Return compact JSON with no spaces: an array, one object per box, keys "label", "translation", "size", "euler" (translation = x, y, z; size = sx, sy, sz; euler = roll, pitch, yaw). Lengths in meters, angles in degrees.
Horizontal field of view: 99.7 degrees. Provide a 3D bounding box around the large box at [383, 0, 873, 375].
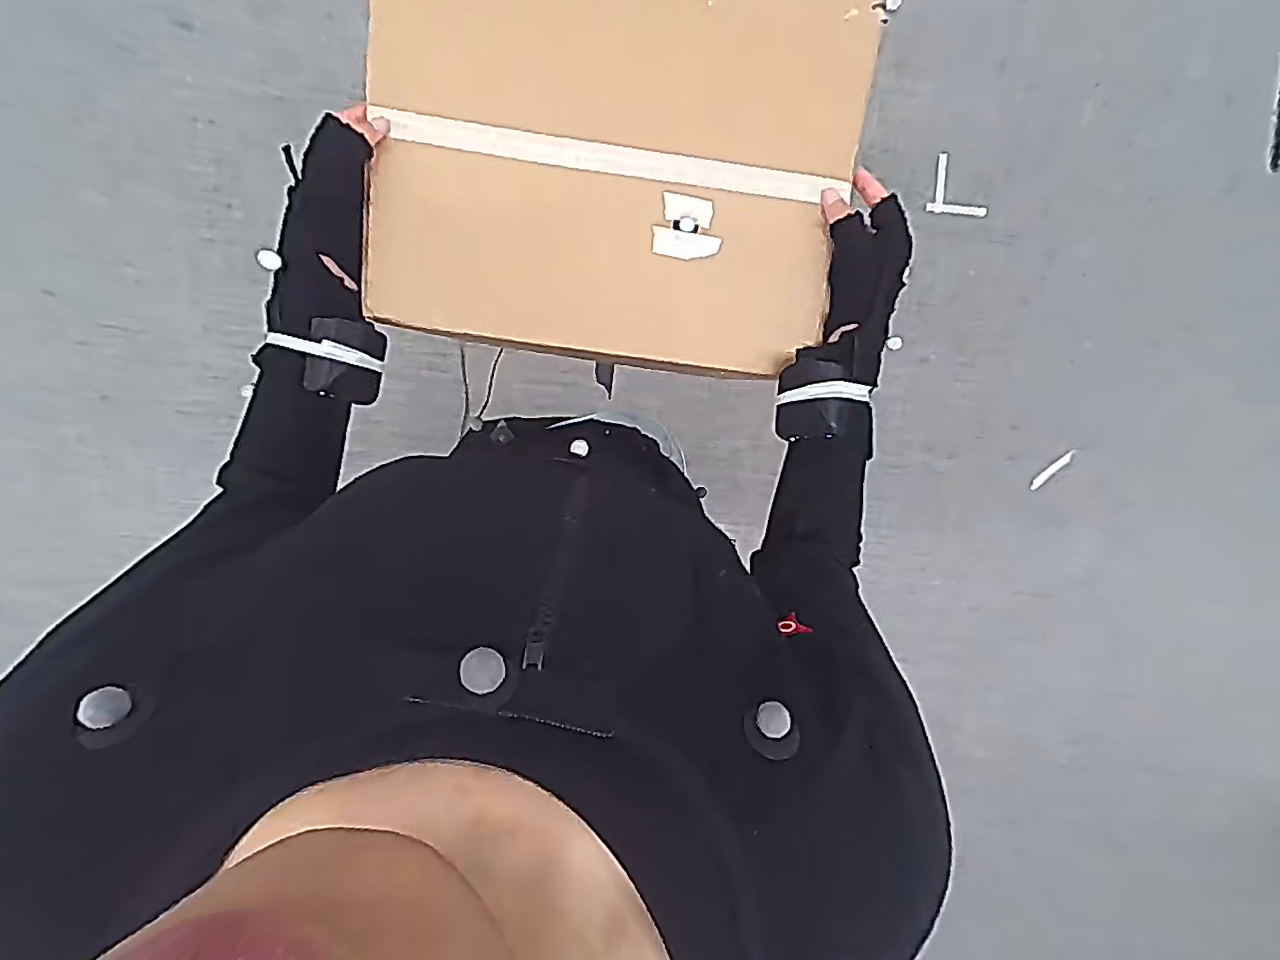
[{"label":"large box","translation":[-0.026,-0.297,0.612],"size":[0.408,0.320,0.320],"euler":[7,101,-5]}]
